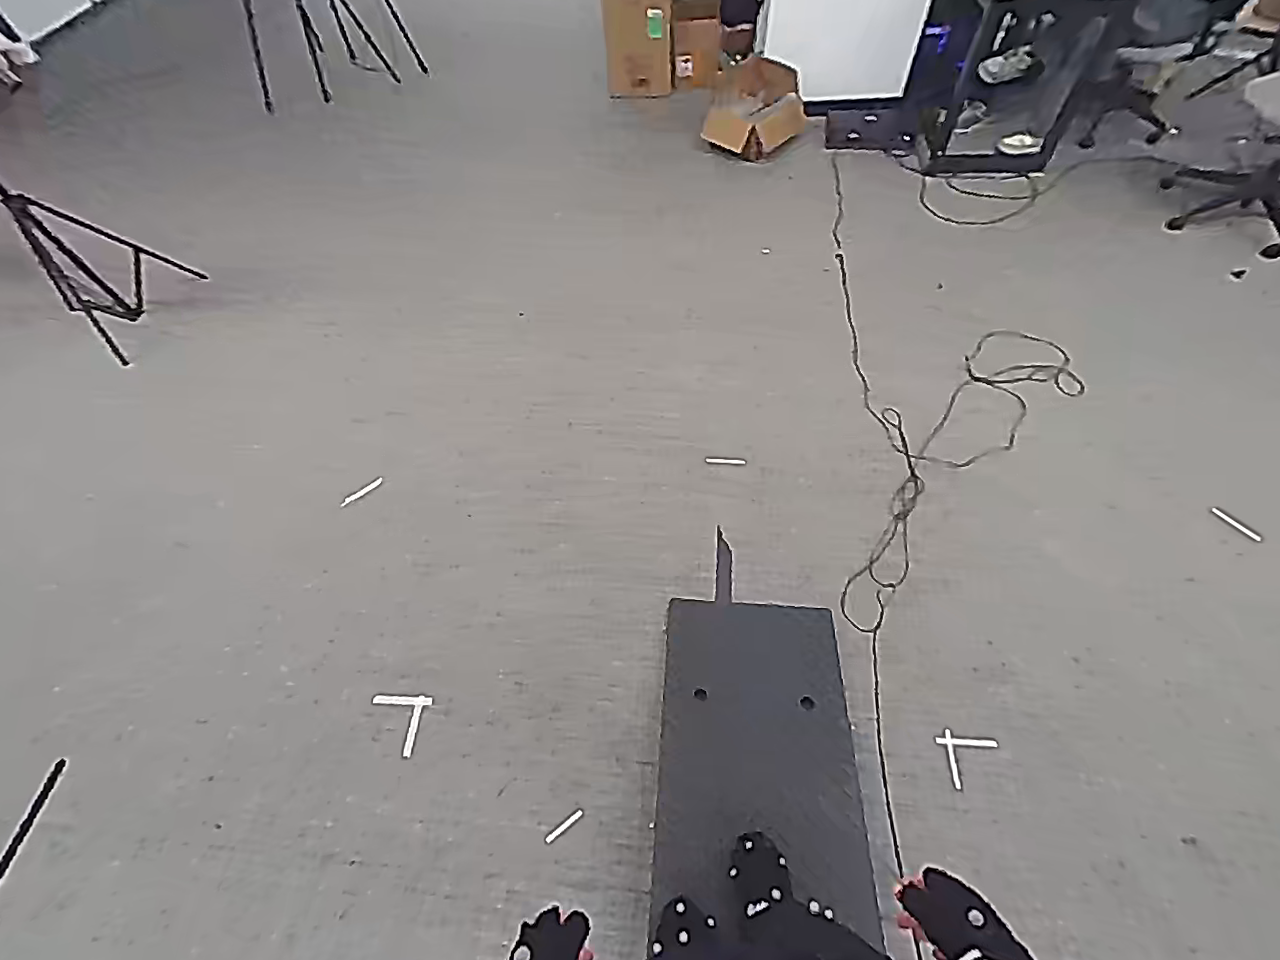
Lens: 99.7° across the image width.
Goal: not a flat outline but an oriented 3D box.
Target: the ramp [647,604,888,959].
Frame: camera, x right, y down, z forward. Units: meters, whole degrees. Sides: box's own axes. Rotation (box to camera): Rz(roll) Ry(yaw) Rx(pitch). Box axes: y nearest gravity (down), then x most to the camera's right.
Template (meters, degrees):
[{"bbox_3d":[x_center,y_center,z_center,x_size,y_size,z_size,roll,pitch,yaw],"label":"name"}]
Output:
[{"bbox_3d":[0.286,0.756,1.321,0.509,0.206,0.991,0,57,6],"label":"ramp"}]
